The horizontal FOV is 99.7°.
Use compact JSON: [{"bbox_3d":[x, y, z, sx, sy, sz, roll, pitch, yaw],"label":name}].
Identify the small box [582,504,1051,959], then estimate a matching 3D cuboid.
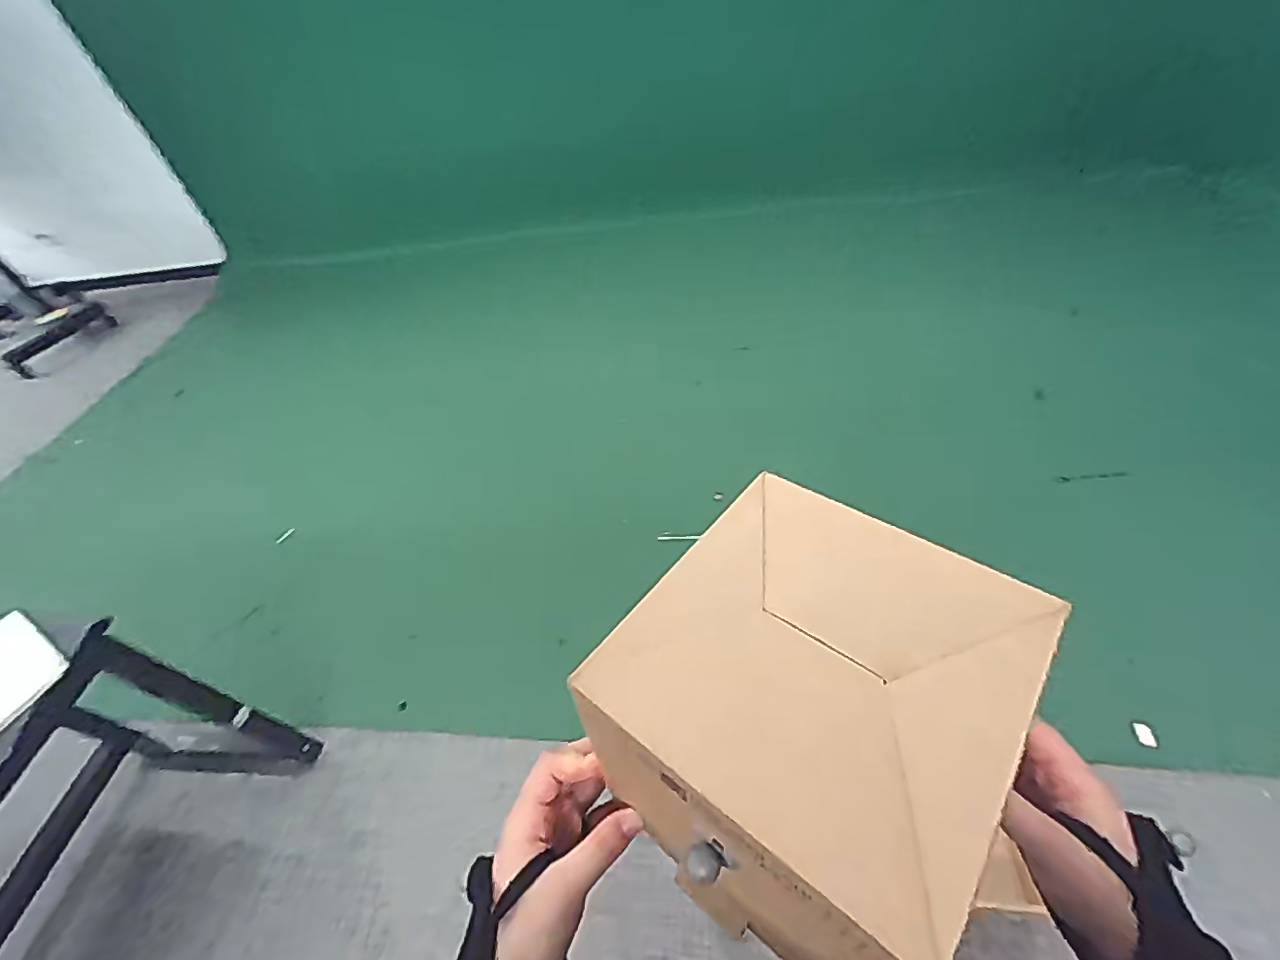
[{"bbox_3d":[0.091,0.135,0.303,0.168,0.176,0.179,26,52,31],"label":"small box"}]
